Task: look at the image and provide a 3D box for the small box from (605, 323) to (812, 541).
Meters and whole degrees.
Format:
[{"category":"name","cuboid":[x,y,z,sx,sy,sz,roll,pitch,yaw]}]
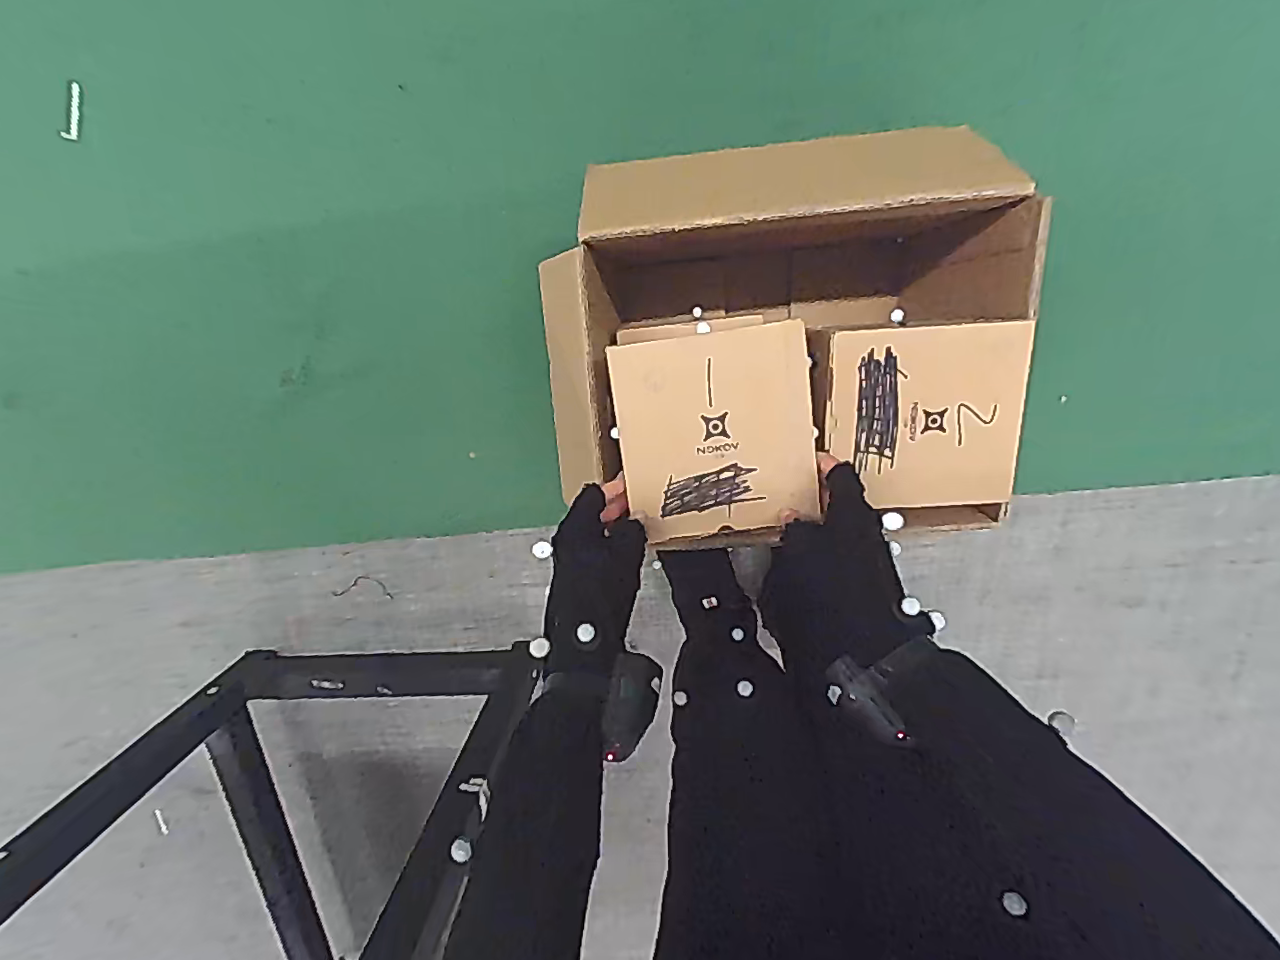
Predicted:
[{"category":"small box","cuboid":[0.067,-0.053,0.540,0.168,0.176,0.179,-7,101,5]}]
